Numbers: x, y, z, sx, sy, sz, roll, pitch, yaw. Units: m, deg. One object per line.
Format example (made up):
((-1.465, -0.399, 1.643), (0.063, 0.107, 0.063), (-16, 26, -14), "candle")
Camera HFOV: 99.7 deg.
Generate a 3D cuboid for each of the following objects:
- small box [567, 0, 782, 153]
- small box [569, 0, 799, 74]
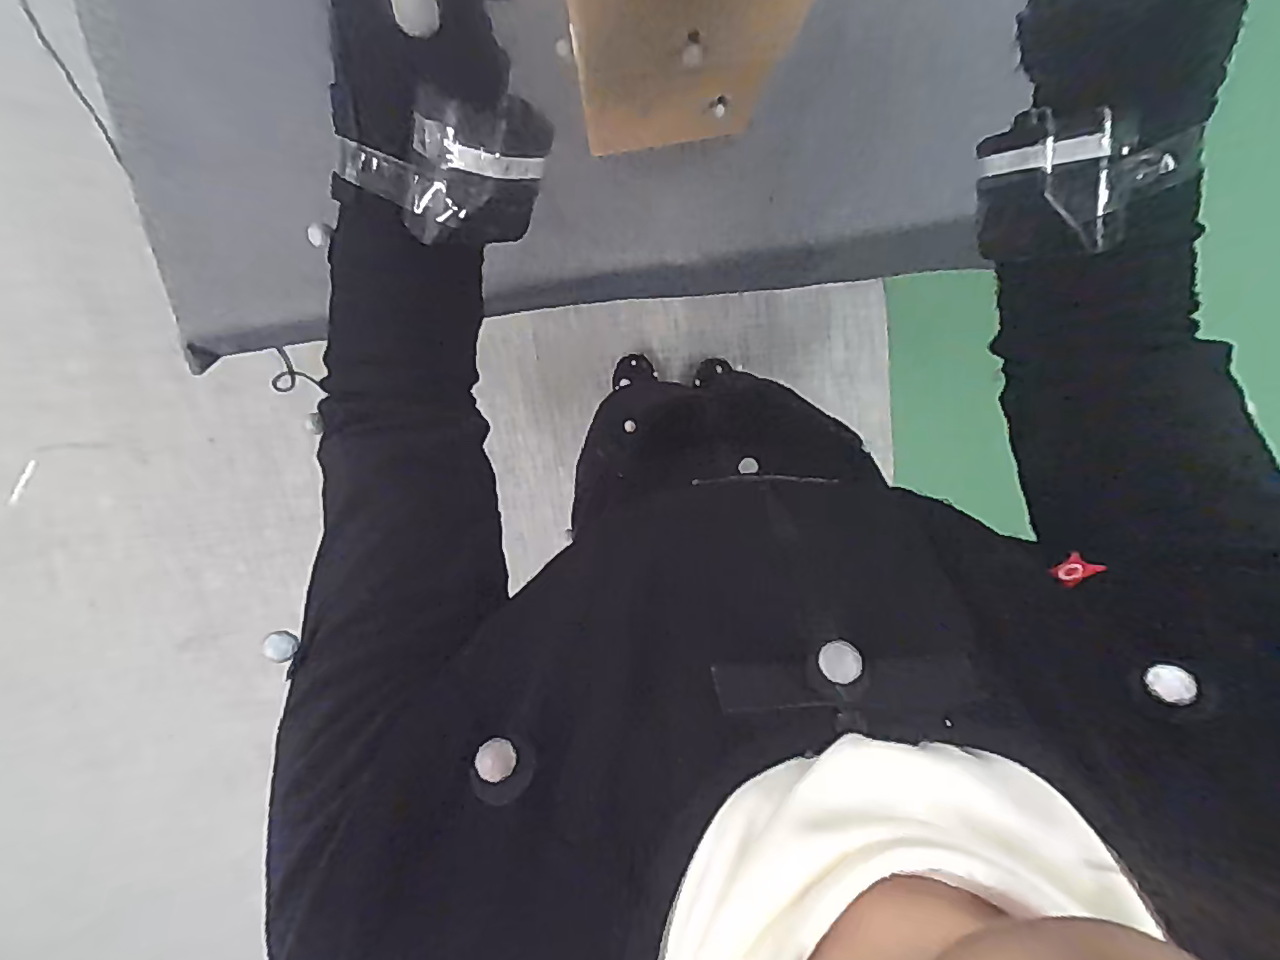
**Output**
((0.021, -0.449, 0.524), (0.179, 0.176, 0.168), (-10, 100, 1), "small box")
((0.030, -0.415, 0.364), (0.179, 0.176, 0.168), (-8, 101, -2), "small box")
